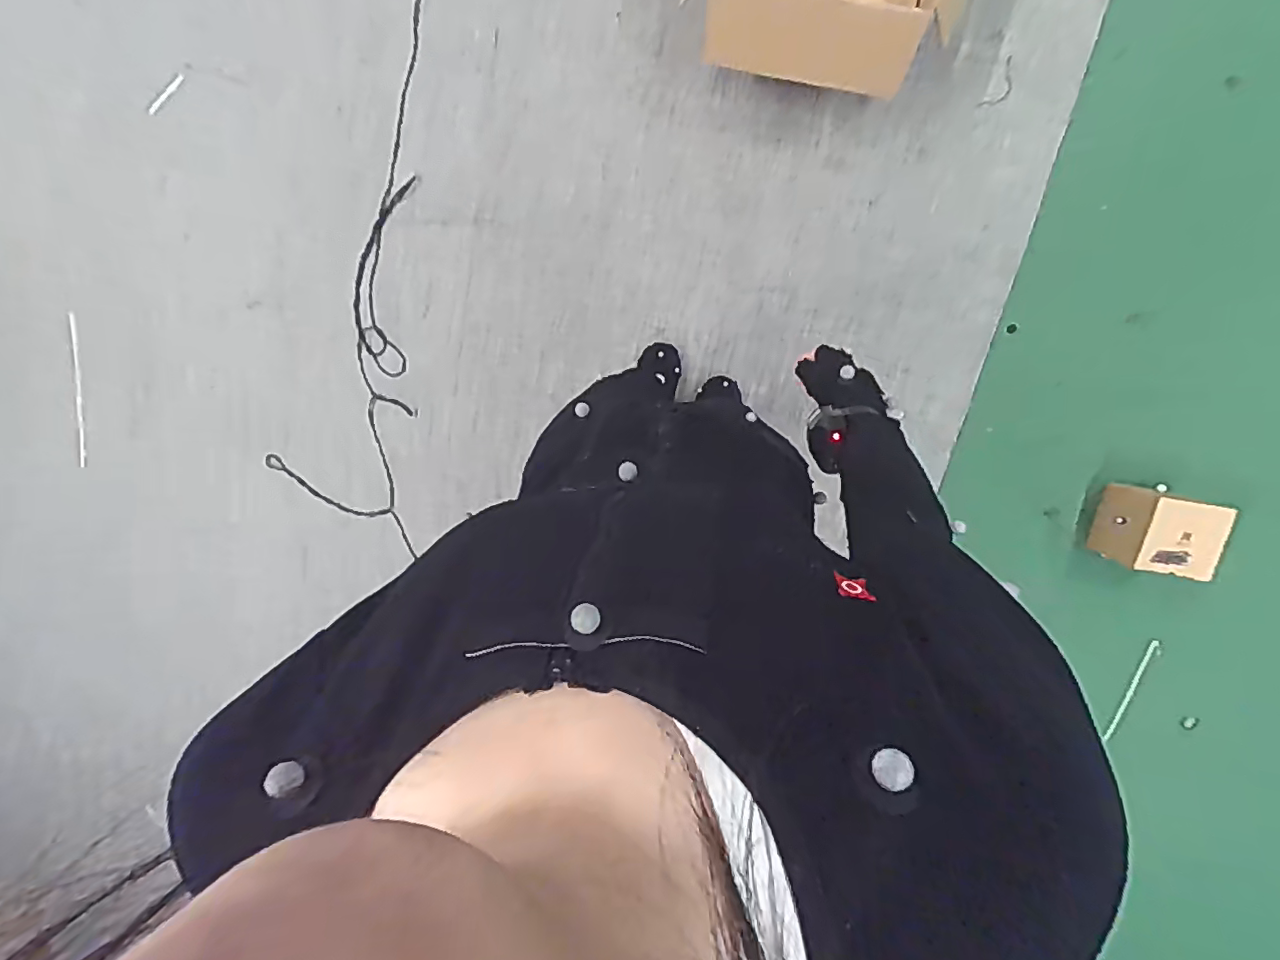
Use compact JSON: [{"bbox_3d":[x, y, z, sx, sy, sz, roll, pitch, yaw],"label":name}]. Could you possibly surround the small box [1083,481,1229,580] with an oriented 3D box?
[{"bbox_3d":[1.220,0.115,1.297,0.168,0.176,0.179,10,103,4],"label":"small box"}]
